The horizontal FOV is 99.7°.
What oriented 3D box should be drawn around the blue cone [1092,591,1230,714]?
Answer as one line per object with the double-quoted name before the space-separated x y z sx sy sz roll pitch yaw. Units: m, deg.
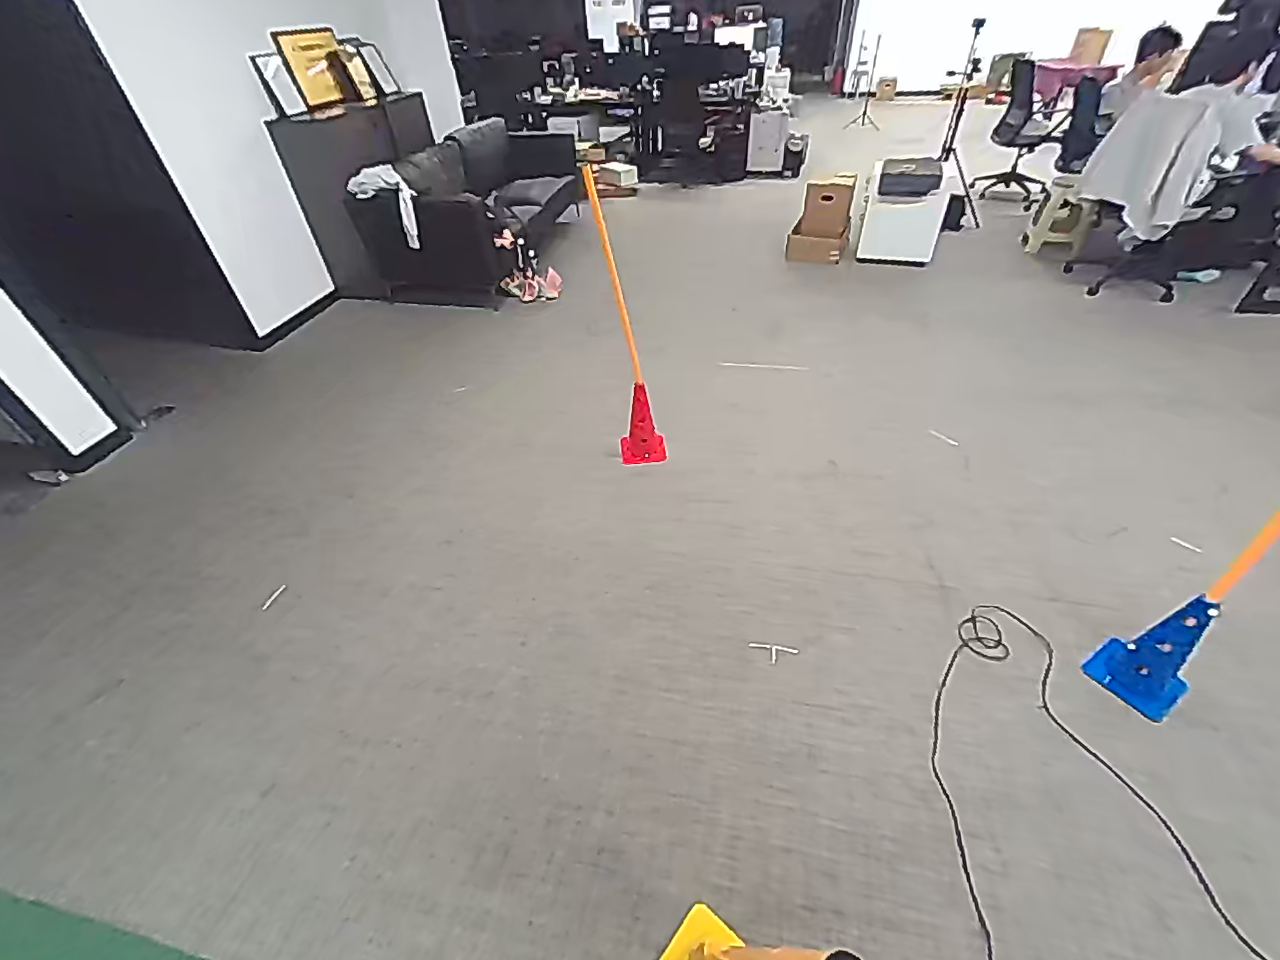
"blue cone" 1.423 0.427 1.448 0.193 0.380 0.192 -24 44 -25
